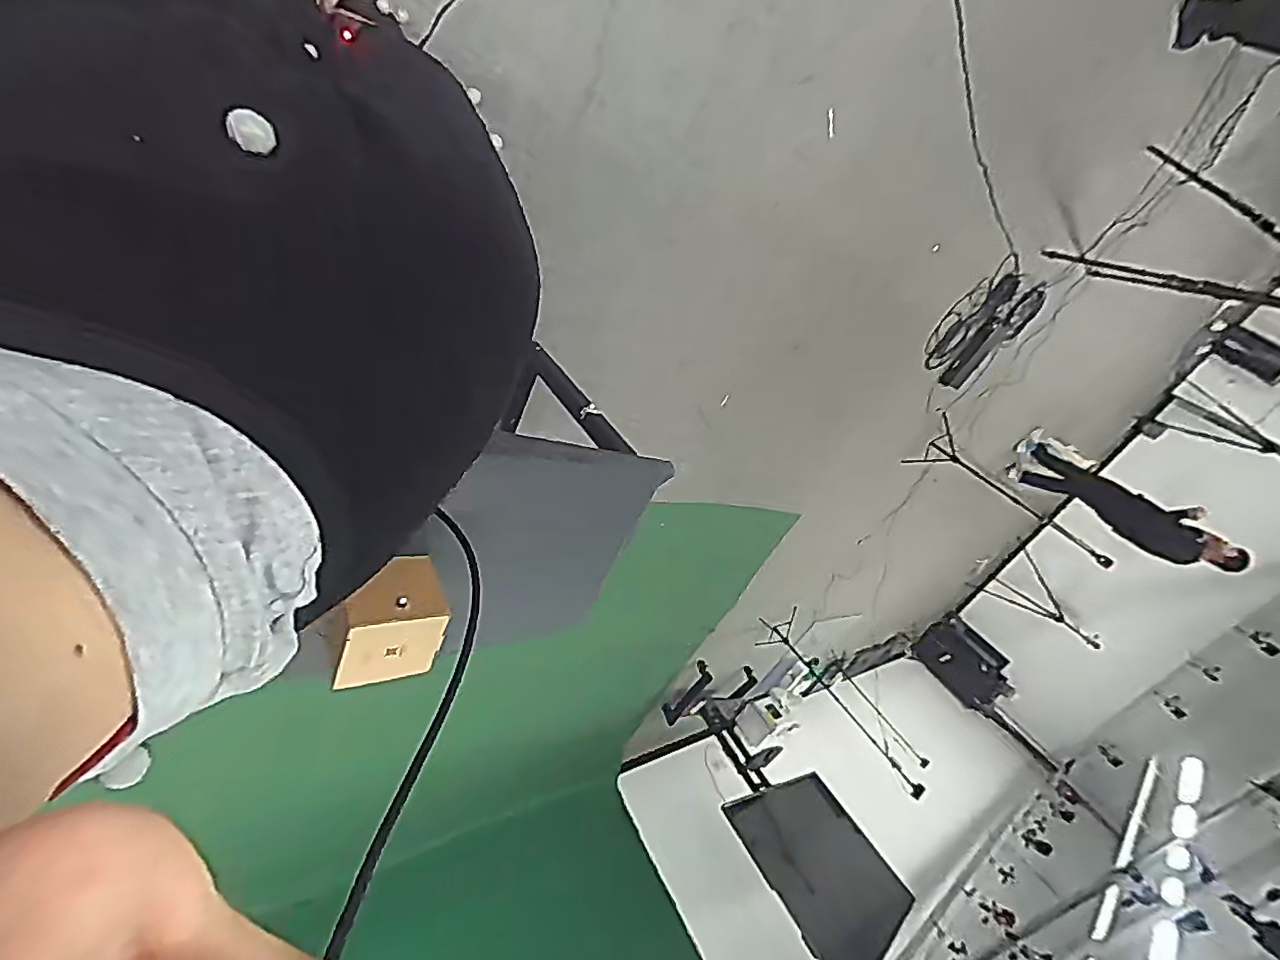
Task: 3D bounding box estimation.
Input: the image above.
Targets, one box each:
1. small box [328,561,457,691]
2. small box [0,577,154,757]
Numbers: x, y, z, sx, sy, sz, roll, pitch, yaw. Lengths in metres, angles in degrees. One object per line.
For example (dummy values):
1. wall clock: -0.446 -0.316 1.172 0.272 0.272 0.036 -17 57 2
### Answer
1. small box: -0.482 0.271 1.043 0.179 0.176 0.168 3 124 -40
2. small box: -0.799 0.247 0.745 0.179 0.176 0.168 9 121 -46
